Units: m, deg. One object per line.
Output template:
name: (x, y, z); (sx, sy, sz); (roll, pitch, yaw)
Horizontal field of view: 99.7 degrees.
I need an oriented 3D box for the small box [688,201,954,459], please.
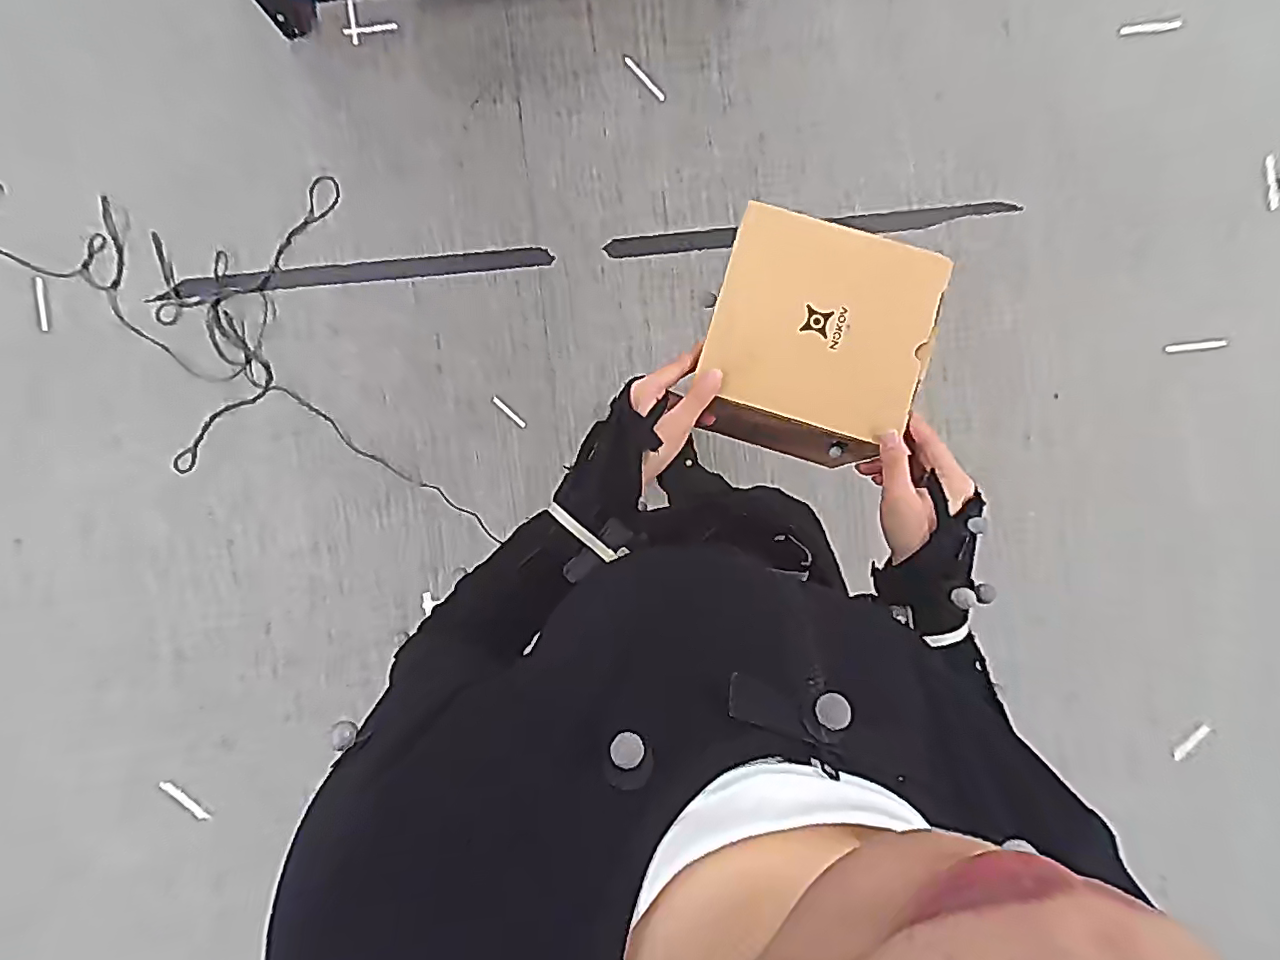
small box: (0.151, -0.124, 0.516); (0.179, 0.176, 0.168); (17, 87, 2)
